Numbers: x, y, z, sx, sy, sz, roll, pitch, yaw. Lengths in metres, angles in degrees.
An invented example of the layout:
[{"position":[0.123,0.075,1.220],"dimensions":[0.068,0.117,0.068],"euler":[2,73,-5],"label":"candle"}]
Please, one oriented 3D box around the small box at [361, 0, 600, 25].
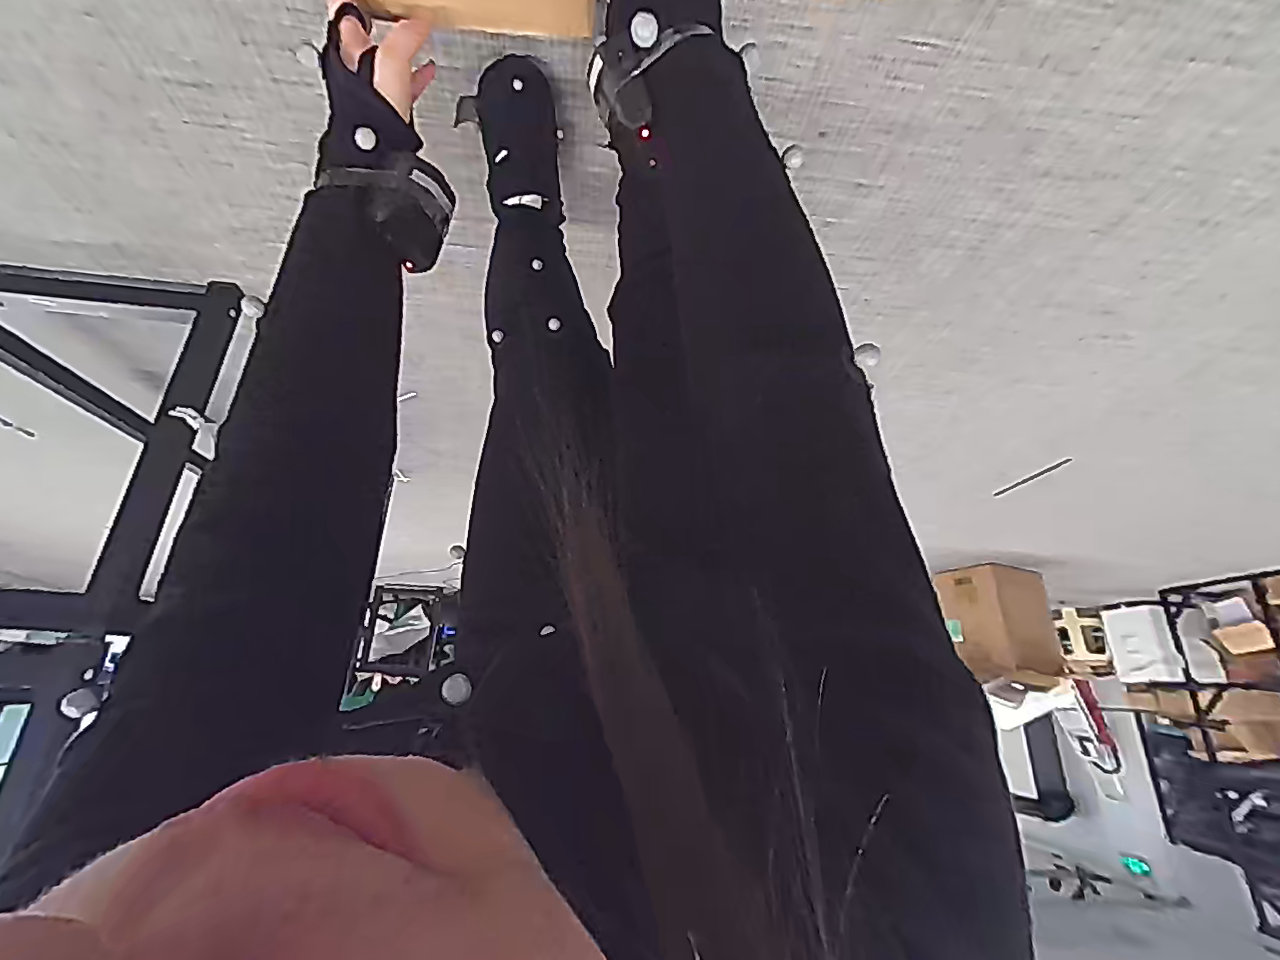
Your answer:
[{"position":[-0.111,-0.448,0.352],"dimensions":[0.179,0.176,0.168],"euler":[3,160,-3],"label":"small box"}]
